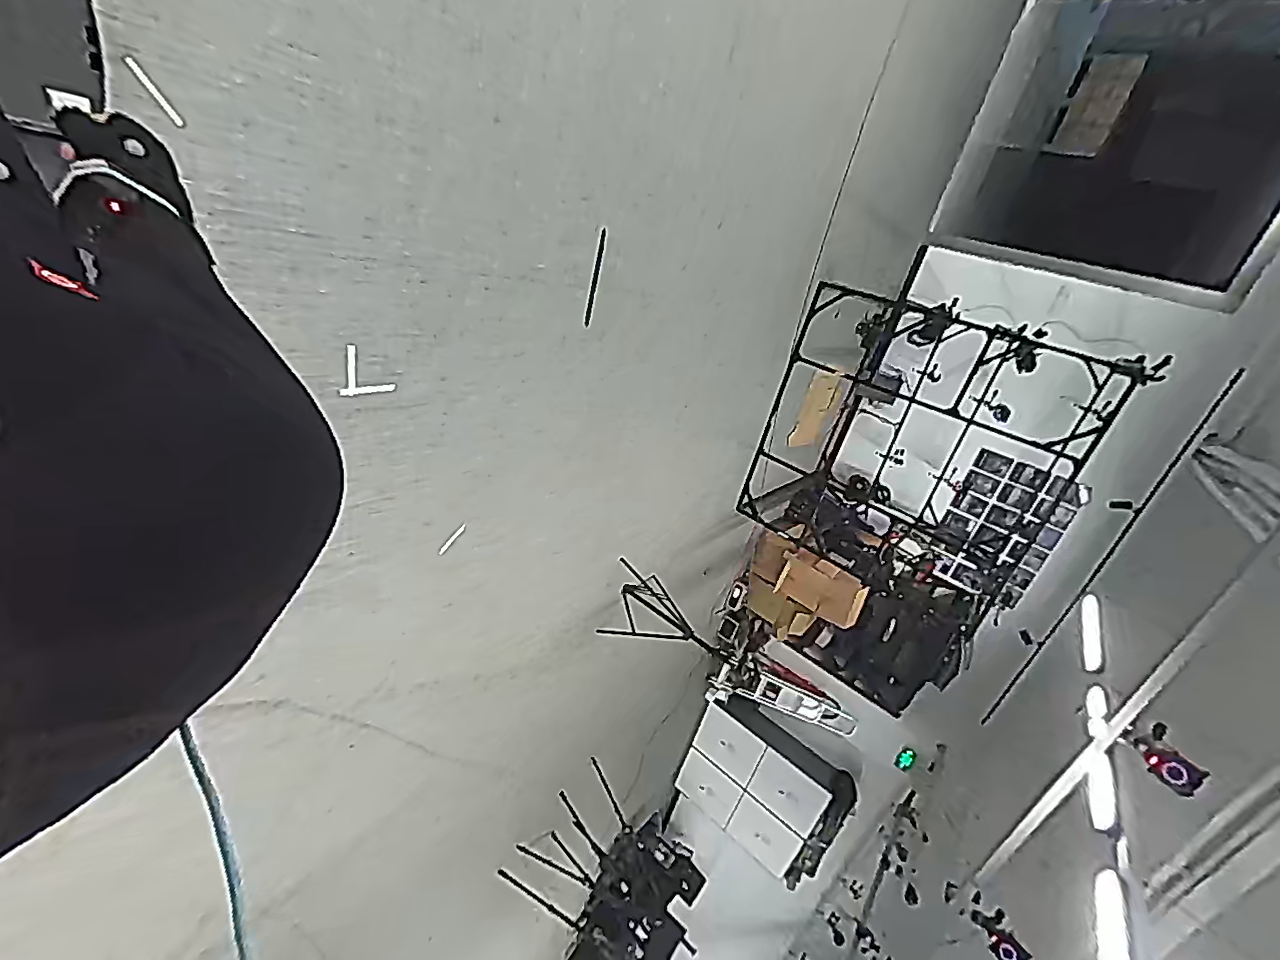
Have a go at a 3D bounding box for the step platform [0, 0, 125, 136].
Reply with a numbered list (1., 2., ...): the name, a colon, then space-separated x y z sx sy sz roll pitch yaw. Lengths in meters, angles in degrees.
1. step platform: -1.137 -0.691 0.698 0.684 0.204 0.286 -20 133 -51
